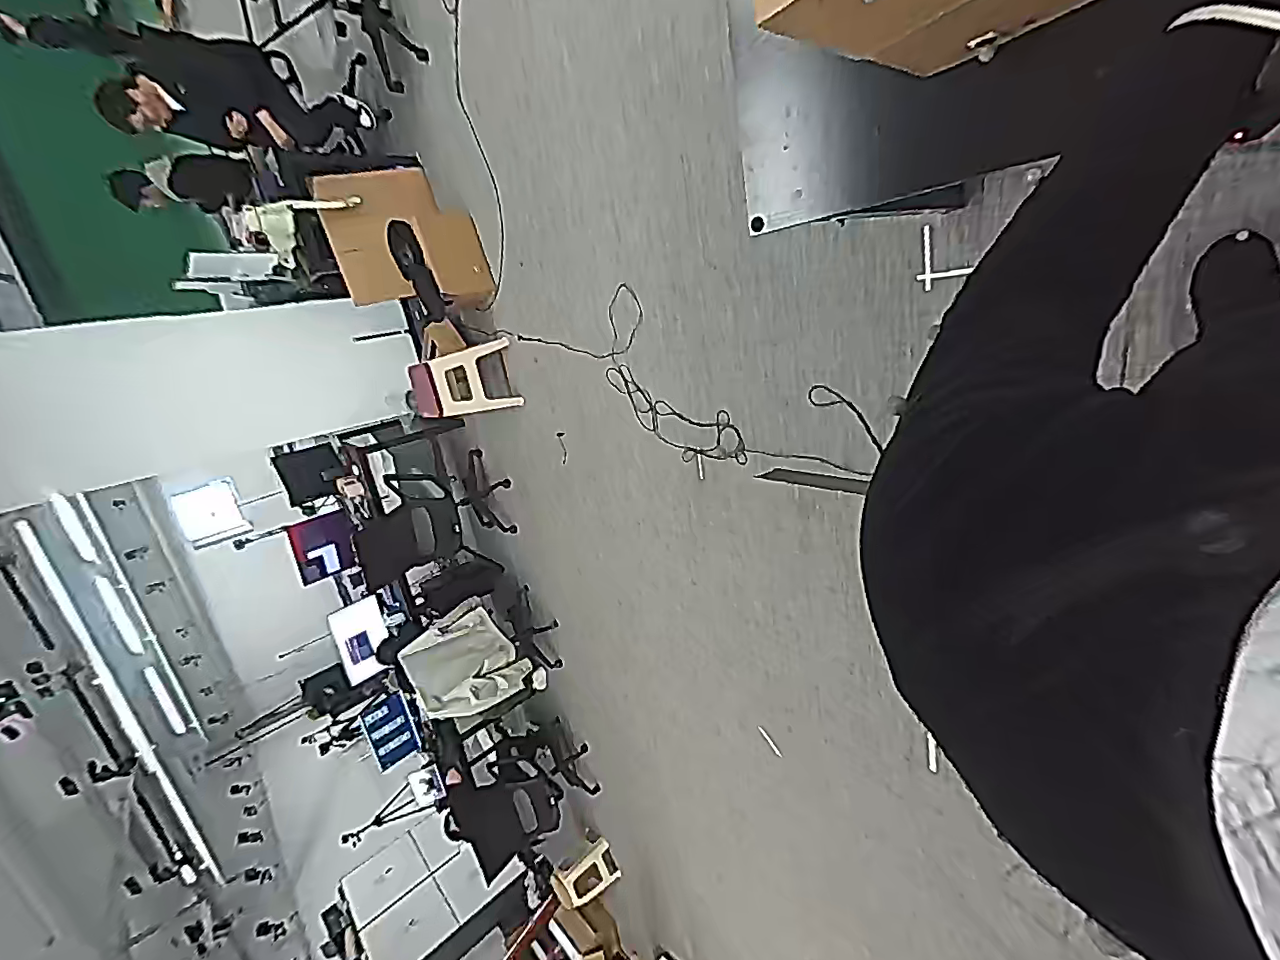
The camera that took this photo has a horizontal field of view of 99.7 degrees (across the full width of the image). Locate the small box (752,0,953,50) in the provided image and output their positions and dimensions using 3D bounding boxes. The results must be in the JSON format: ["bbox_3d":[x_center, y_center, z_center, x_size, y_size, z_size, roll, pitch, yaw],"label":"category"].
[{"bbox_3d":[0.192,-0.463,0.401,0.179,0.176,0.168,4,112,50],"label":"small box"}]

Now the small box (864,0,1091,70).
[{"bbox_3d":[0.315,-0.519,0.497,0.168,0.176,0.179,5,114,51],"label":"small box"}]
